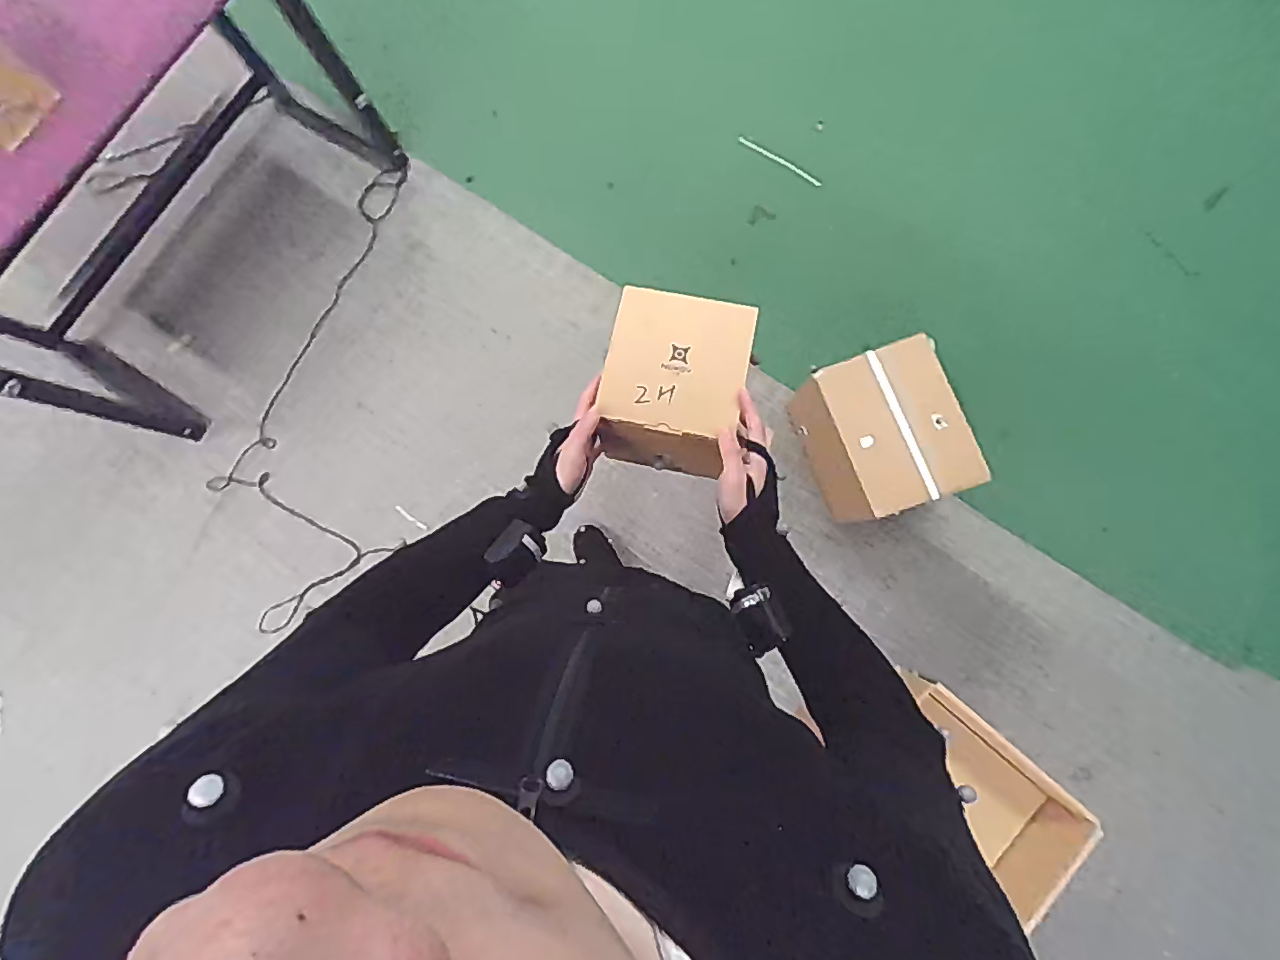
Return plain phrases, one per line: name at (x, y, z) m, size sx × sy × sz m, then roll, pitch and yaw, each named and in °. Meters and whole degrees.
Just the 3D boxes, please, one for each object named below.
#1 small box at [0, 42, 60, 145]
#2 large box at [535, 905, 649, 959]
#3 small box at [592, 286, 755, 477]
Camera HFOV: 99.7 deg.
small box at (-1.286, -0.781, 1.016) m, size 0.179 × 0.176 × 0.168 m, roll 35°, pitch 85°, yaw 7°
large box at (-0.155, 1.405, 1.352) m, size 0.408 × 0.320 × 0.320 m, roll -32°, pitch 83°, yaw -3°
small box at (0.043, -0.119, 0.705) m, size 0.168 × 0.176 × 0.179 m, roll 11°, pitch 77°, yaw 5°
